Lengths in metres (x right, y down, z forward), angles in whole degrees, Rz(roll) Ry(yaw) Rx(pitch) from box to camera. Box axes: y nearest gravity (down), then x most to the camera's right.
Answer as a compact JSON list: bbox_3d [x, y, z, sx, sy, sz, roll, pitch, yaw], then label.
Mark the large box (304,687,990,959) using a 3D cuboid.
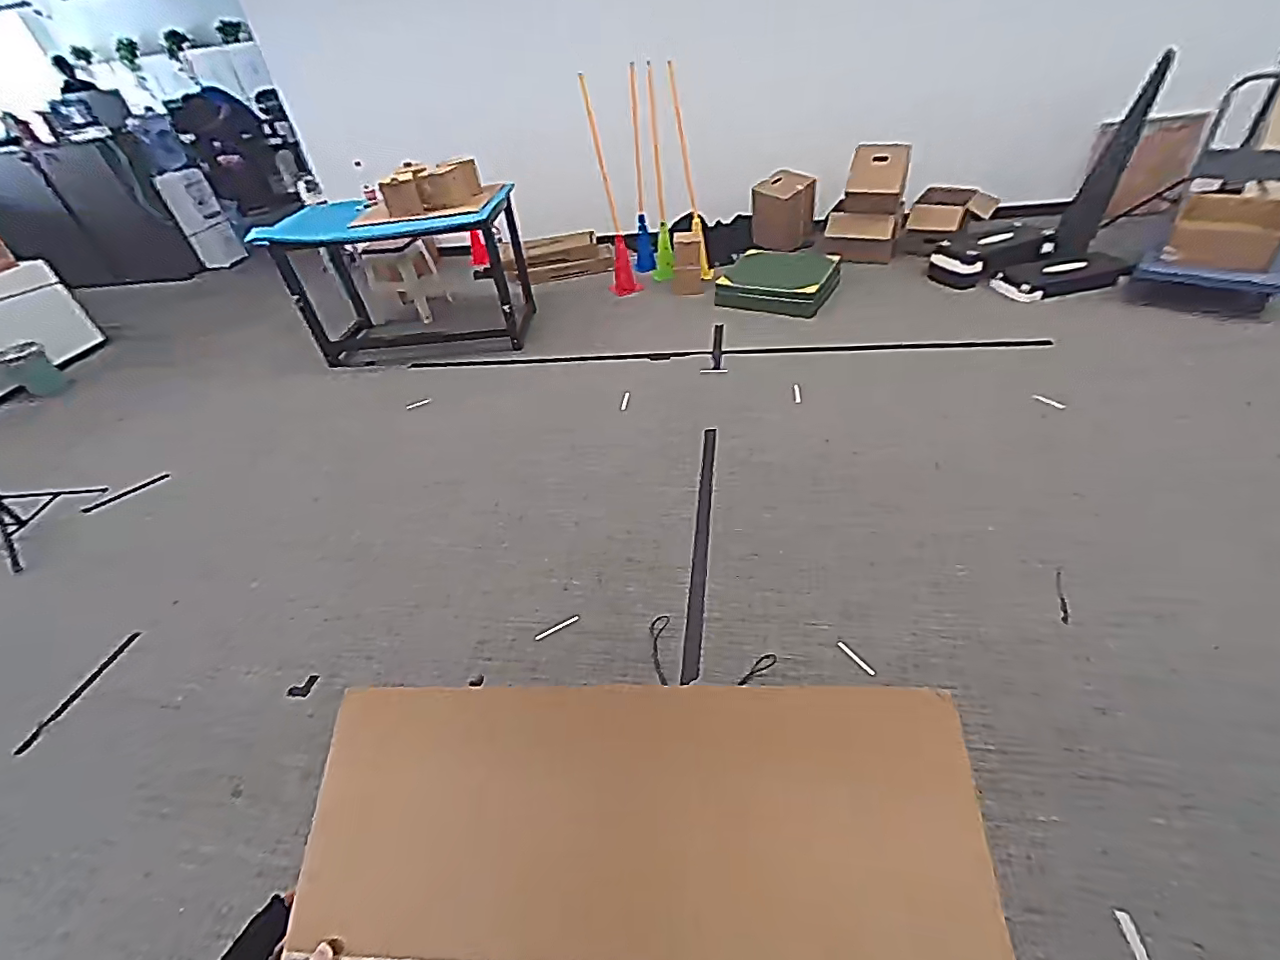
[{"bbox_3d":[0.010,0.348,0.434,0.408,0.320,0.320,-3,64,9],"label":"large box"}]
